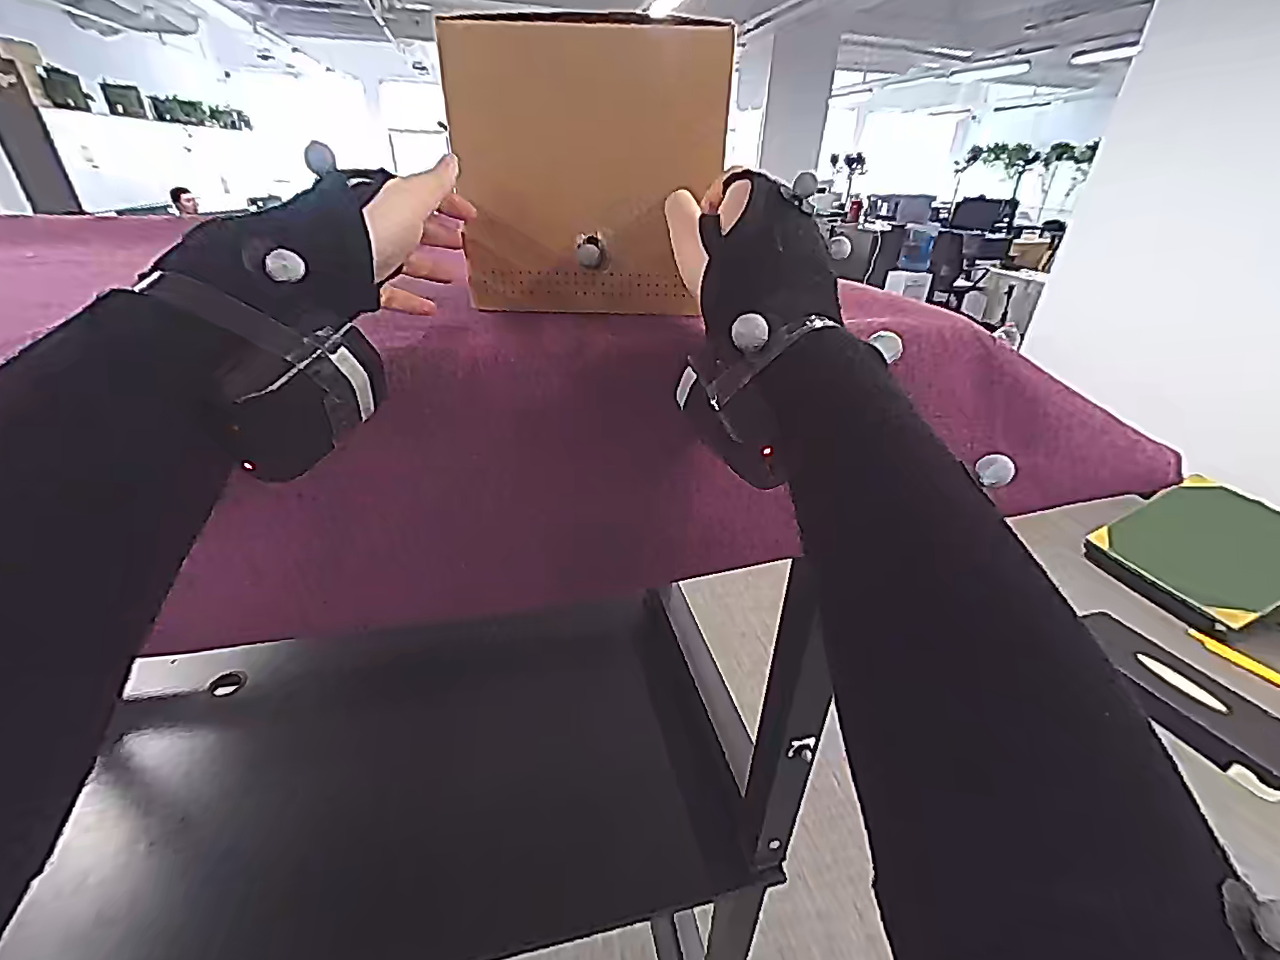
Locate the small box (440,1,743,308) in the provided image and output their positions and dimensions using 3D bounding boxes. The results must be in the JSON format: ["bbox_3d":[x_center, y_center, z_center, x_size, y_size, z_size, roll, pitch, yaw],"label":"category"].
[{"bbox_3d":[-0.029,-0.232,0.414,0.179,0.176,0.168,2,29,0],"label":"small box"}]
